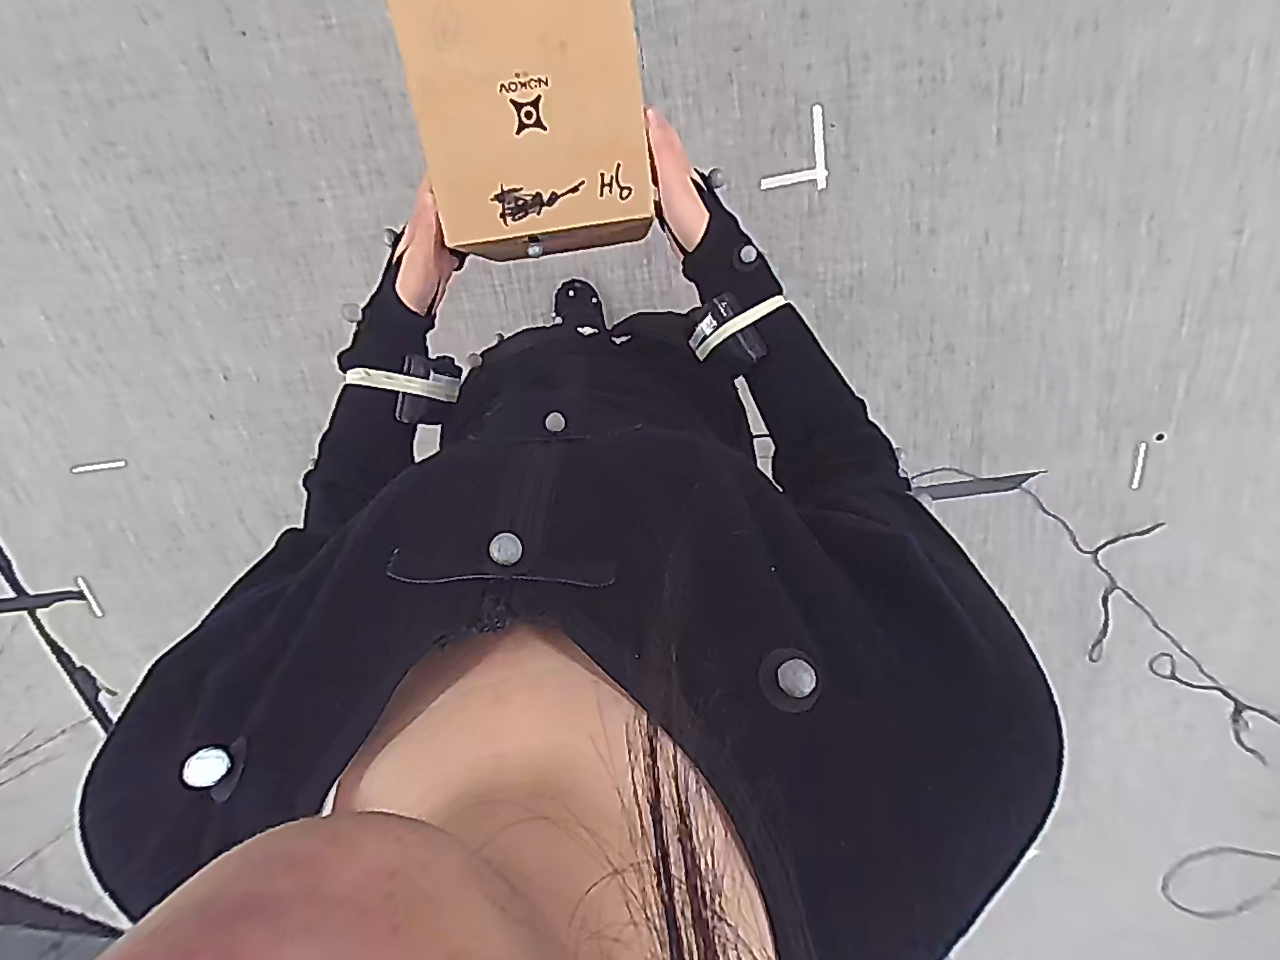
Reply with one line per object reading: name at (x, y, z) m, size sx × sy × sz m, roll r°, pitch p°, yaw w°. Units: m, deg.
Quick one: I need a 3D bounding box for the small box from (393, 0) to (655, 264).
small box at (-0.083, -0.294, 0.465) m, size 0.168 × 0.176 × 0.179 m, roll -8°, pitch 108°, yaw 0°

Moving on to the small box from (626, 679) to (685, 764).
small box at (0.049, 0.774, 1.737) m, size 0.168 × 0.176 × 0.179 m, roll -9°, pitch 109°, yaw 2°
